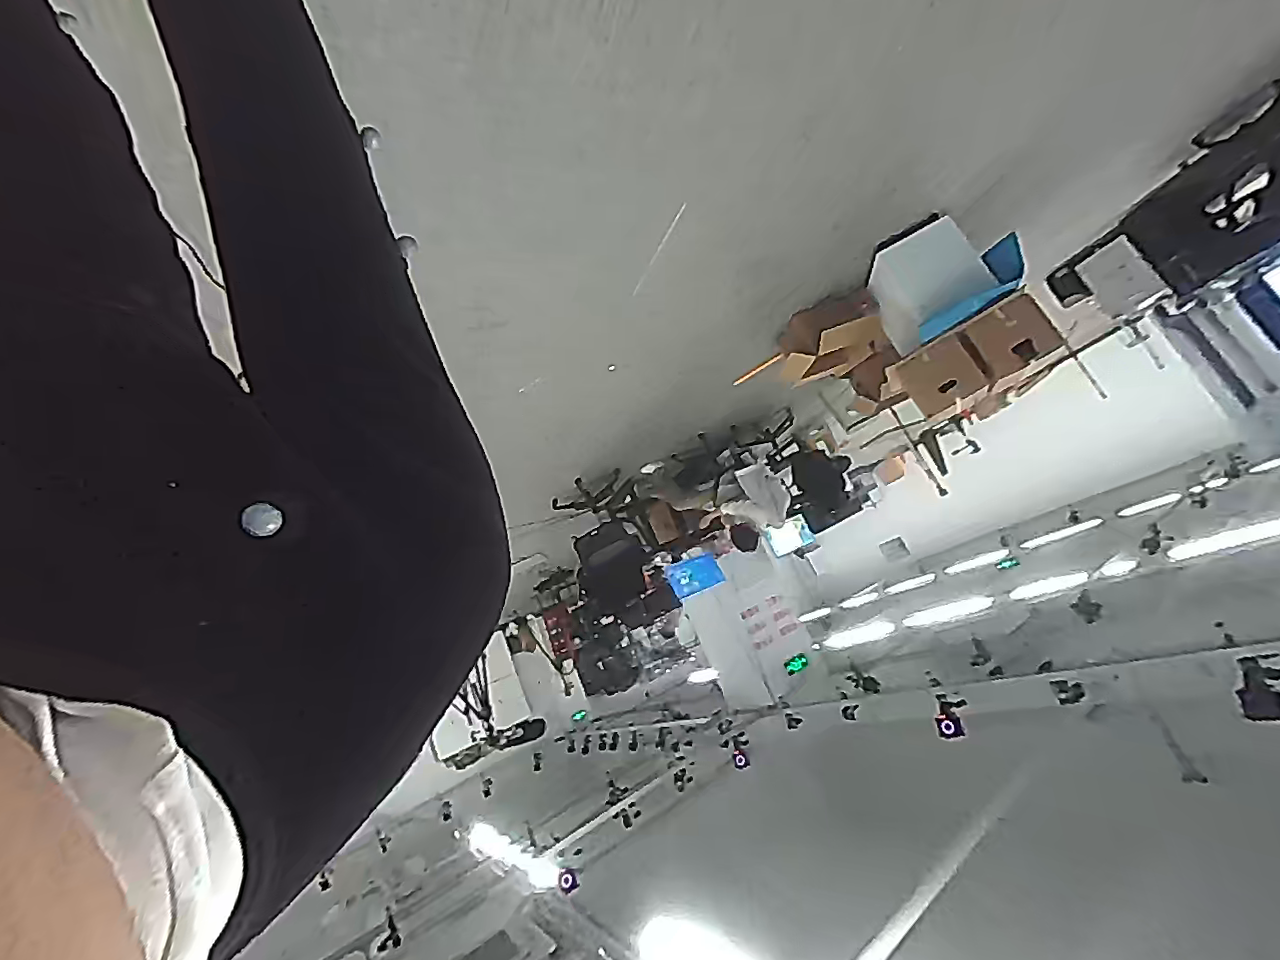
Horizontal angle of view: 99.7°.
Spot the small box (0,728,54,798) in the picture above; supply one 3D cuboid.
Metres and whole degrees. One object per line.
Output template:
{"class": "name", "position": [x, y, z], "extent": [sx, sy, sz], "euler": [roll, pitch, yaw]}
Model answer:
{"class": "small box", "position": [-2.077, 0.932, 1.767], "extent": [0.168, 0.176, 0.179], "euler": [-18, 162, -34]}
